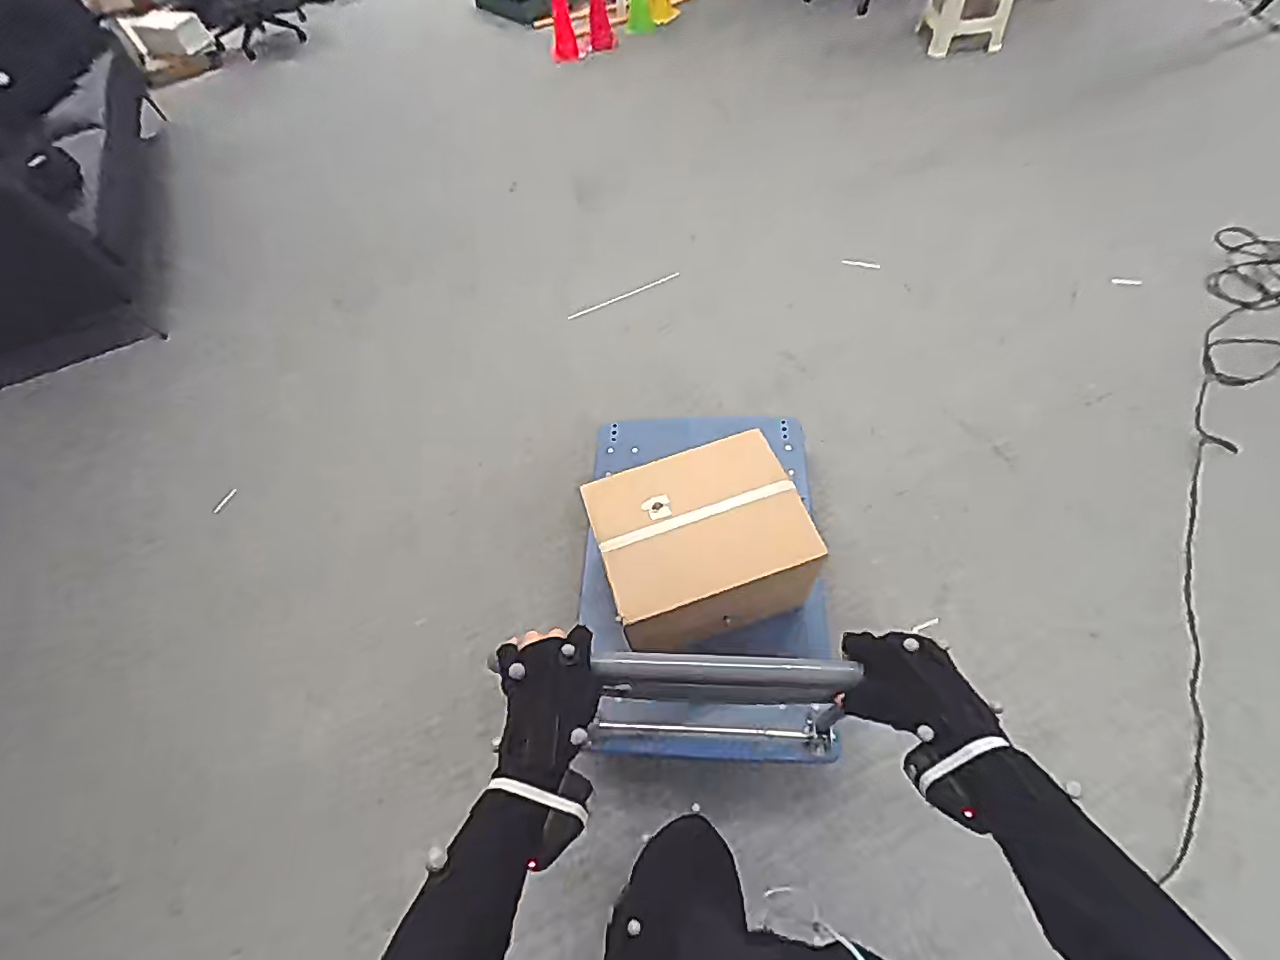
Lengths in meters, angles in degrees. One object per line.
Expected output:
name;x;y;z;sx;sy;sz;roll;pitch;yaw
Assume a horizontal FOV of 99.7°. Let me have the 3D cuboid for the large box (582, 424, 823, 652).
large box;0.129;0.139;1.196;0.408;0.320;0.320;-19;59;-4
